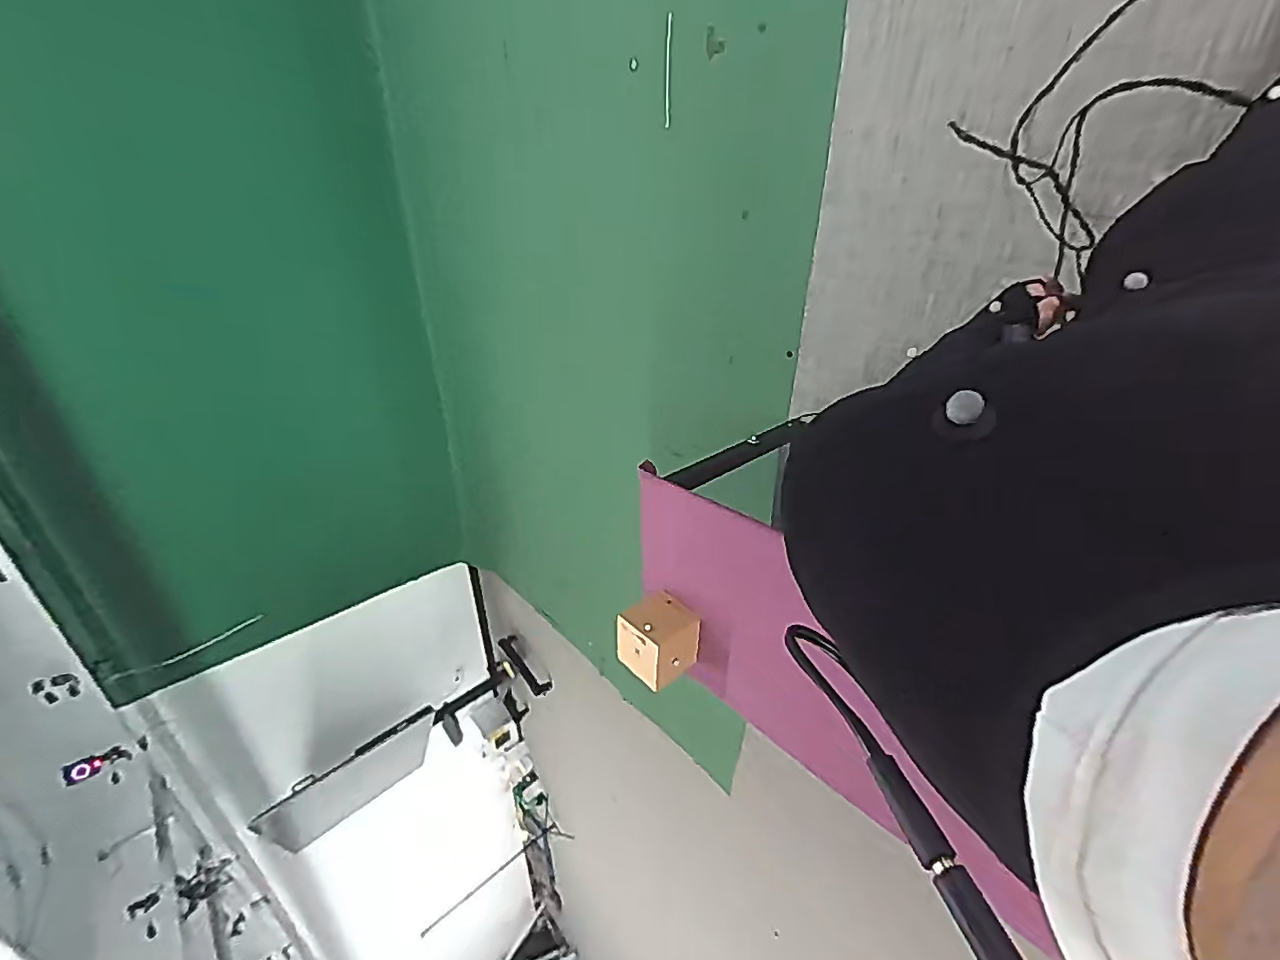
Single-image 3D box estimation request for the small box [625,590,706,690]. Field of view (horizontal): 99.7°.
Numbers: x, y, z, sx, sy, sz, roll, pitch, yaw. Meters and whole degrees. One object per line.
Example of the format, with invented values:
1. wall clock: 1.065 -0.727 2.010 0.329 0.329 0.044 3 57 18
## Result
1. small box: 0.072 0.452 1.550 0.168 0.176 0.179 28 129 40
